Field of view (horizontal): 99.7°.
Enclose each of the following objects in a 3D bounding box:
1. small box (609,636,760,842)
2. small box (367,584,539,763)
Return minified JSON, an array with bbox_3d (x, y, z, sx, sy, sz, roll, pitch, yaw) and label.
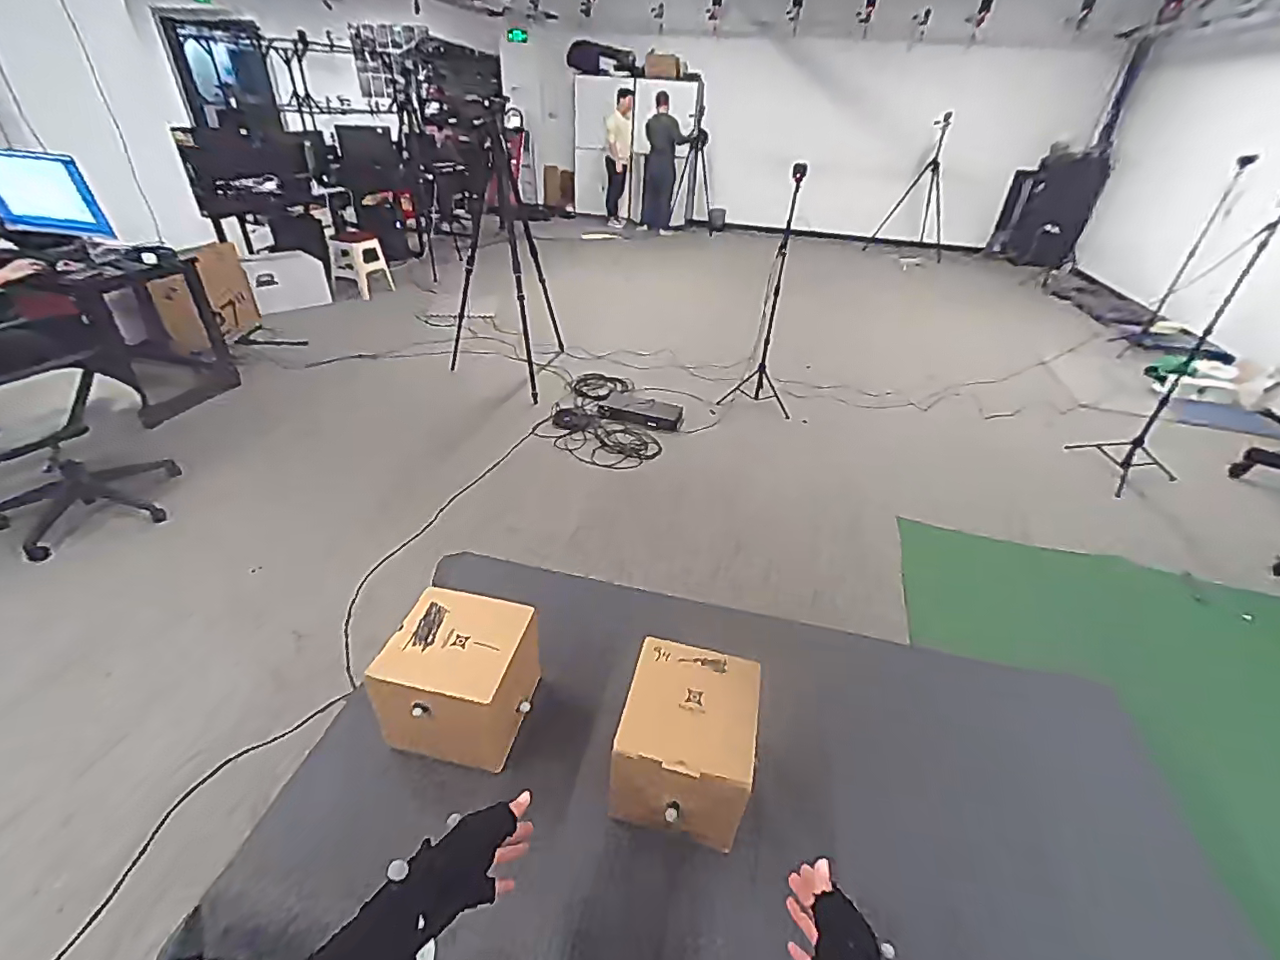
[{"bbox_3d":[0.061,0.350,0.733,0.168,0.176,0.179,11,36,10],"label":"small box"},{"bbox_3d":[-0.258,0.283,0.792,0.179,0.176,0.168,10,35,7],"label":"small box"}]
